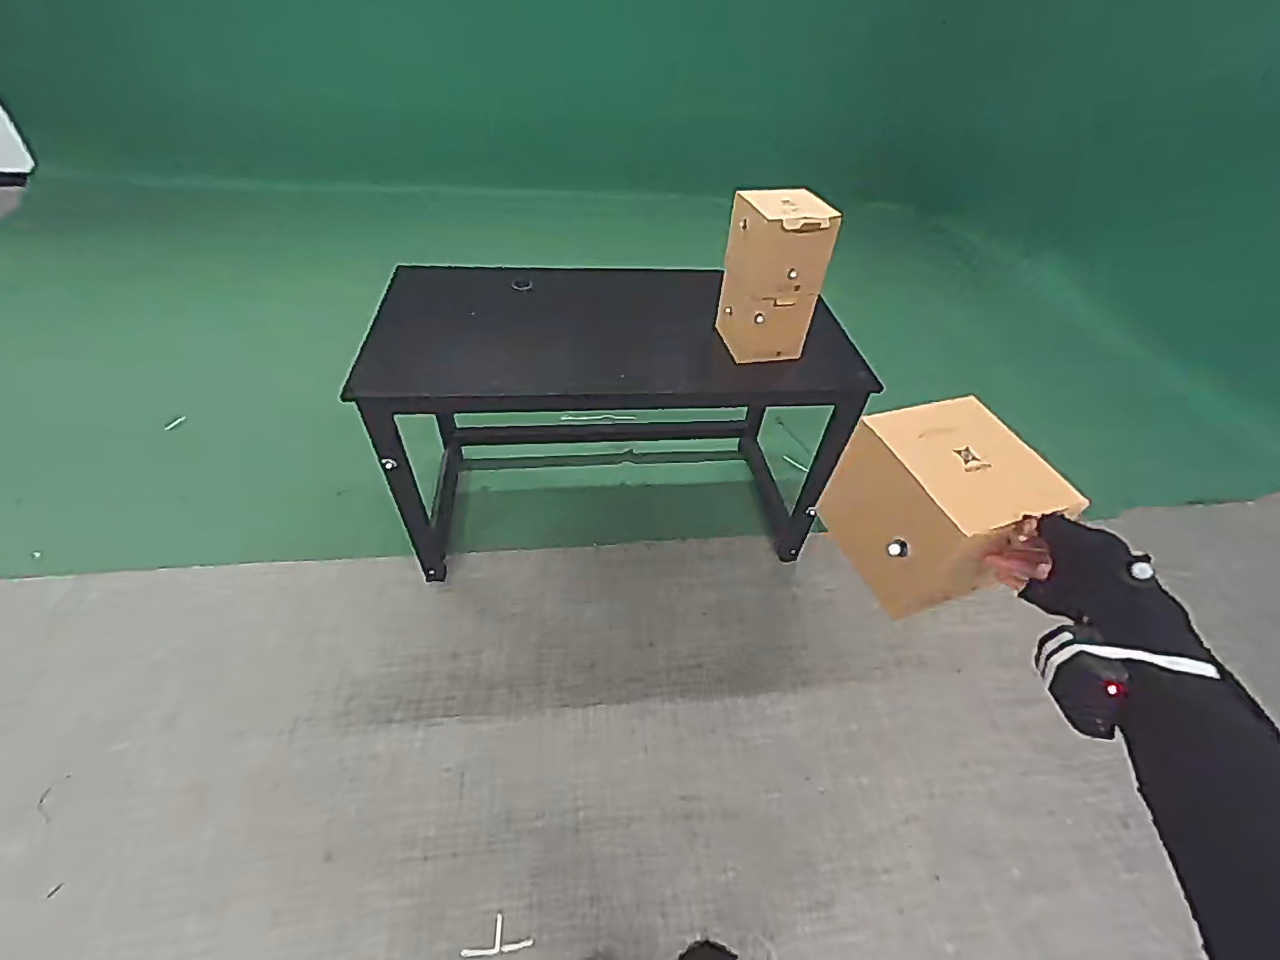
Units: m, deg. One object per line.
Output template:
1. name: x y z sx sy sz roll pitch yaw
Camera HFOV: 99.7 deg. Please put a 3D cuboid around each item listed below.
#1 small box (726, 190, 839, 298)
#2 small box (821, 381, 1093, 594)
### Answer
1. small box: 0.300 -0.520 1.191 0.168 0.176 0.179 -9 47 -12
2. small box: 0.343 0.014 0.627 0.168 0.176 0.179 -11 51 -16
